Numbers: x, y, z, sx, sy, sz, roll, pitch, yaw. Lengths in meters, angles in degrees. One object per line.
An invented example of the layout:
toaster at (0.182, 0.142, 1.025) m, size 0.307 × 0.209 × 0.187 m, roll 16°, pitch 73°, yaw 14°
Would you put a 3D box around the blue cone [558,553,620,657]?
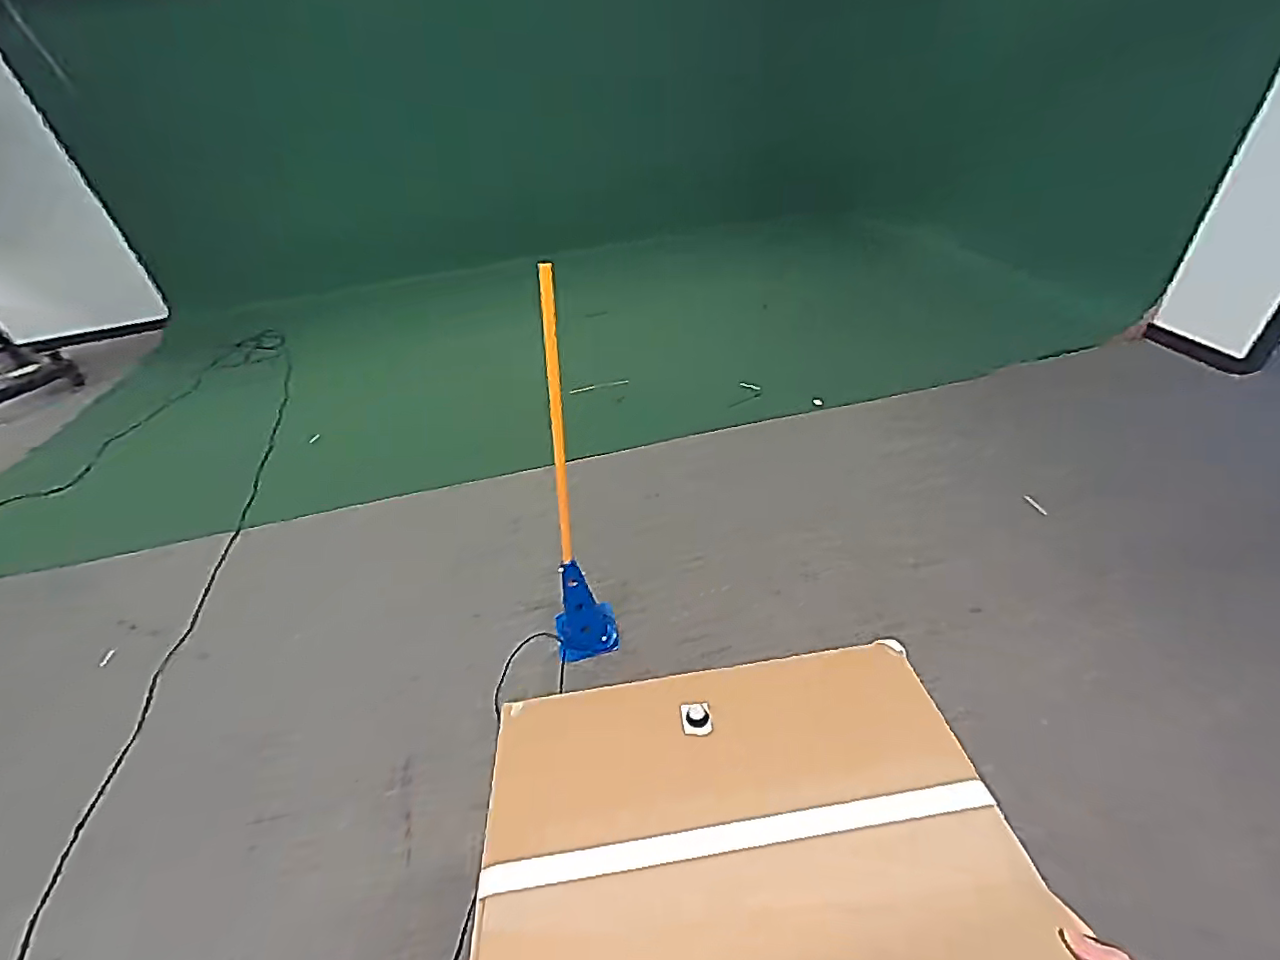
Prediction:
blue cone at (-0.188, 0.363, 1.699) m, size 0.193 × 0.380 × 0.192 m, roll -13°, pitch 40°, yaw -9°
